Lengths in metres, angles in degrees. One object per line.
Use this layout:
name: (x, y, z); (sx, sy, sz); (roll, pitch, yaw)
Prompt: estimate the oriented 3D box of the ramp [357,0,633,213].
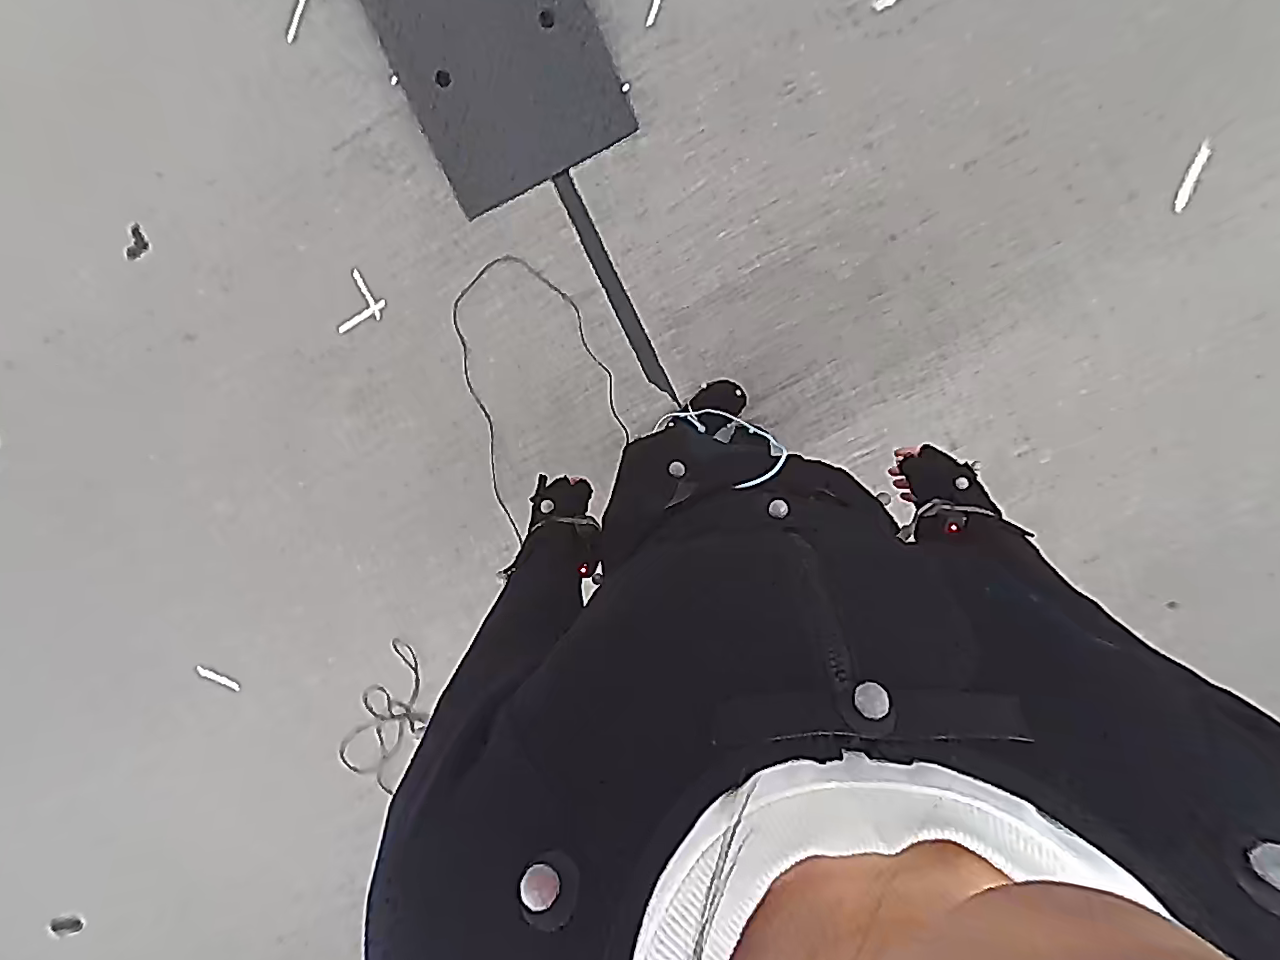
ramp: (-0.434, -1.210, 1.229); (0.509, 0.206, 0.991); (-25, 96, 7)
